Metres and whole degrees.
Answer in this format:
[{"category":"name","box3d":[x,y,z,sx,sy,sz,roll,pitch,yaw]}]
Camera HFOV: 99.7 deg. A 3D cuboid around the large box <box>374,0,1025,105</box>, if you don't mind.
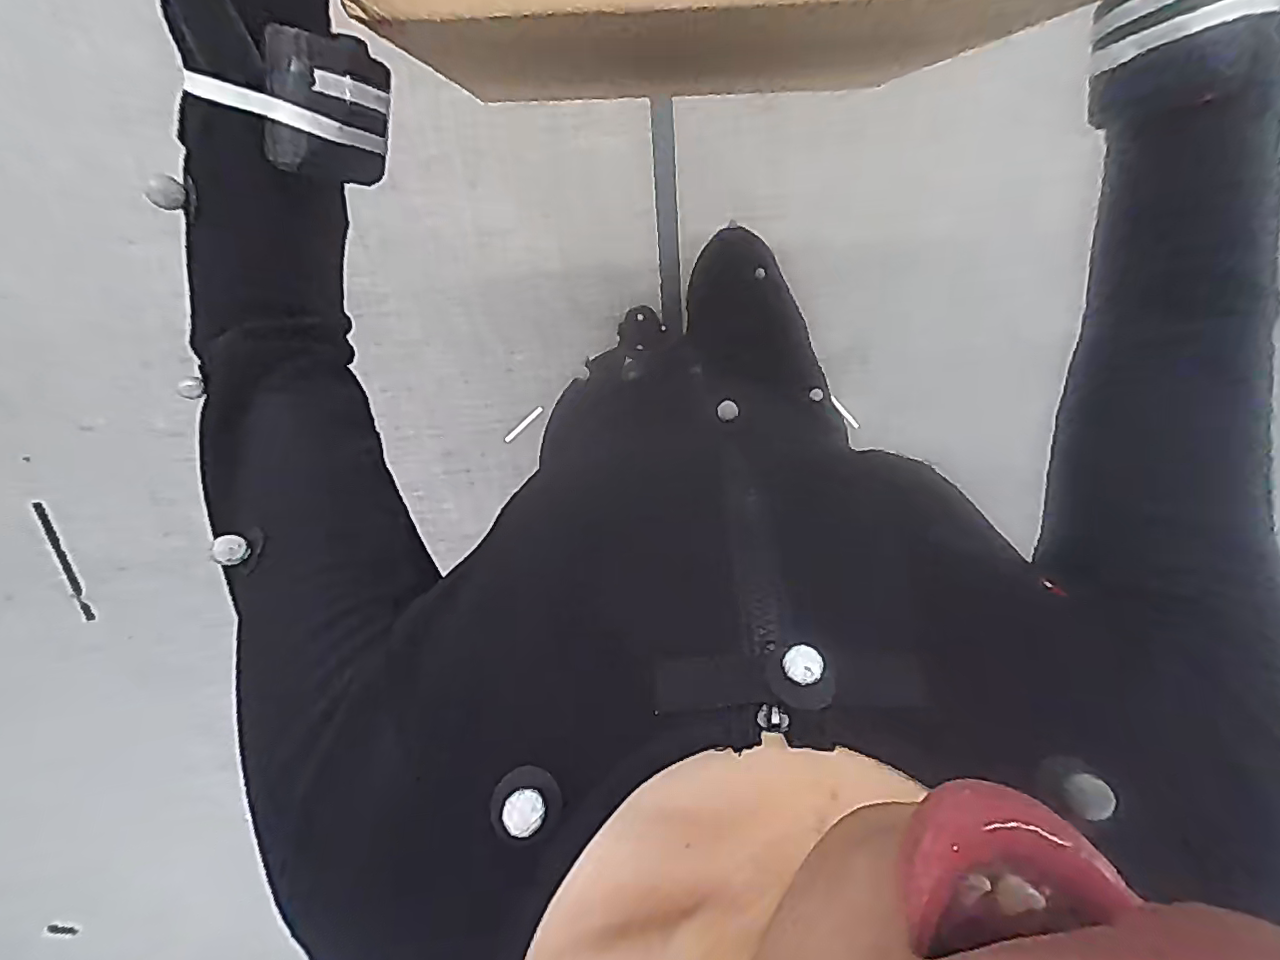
[{"category":"large box","box3d":[0.039,-0.461,0.348,0.408,0.320,0.320,-4,118,-1]}]
